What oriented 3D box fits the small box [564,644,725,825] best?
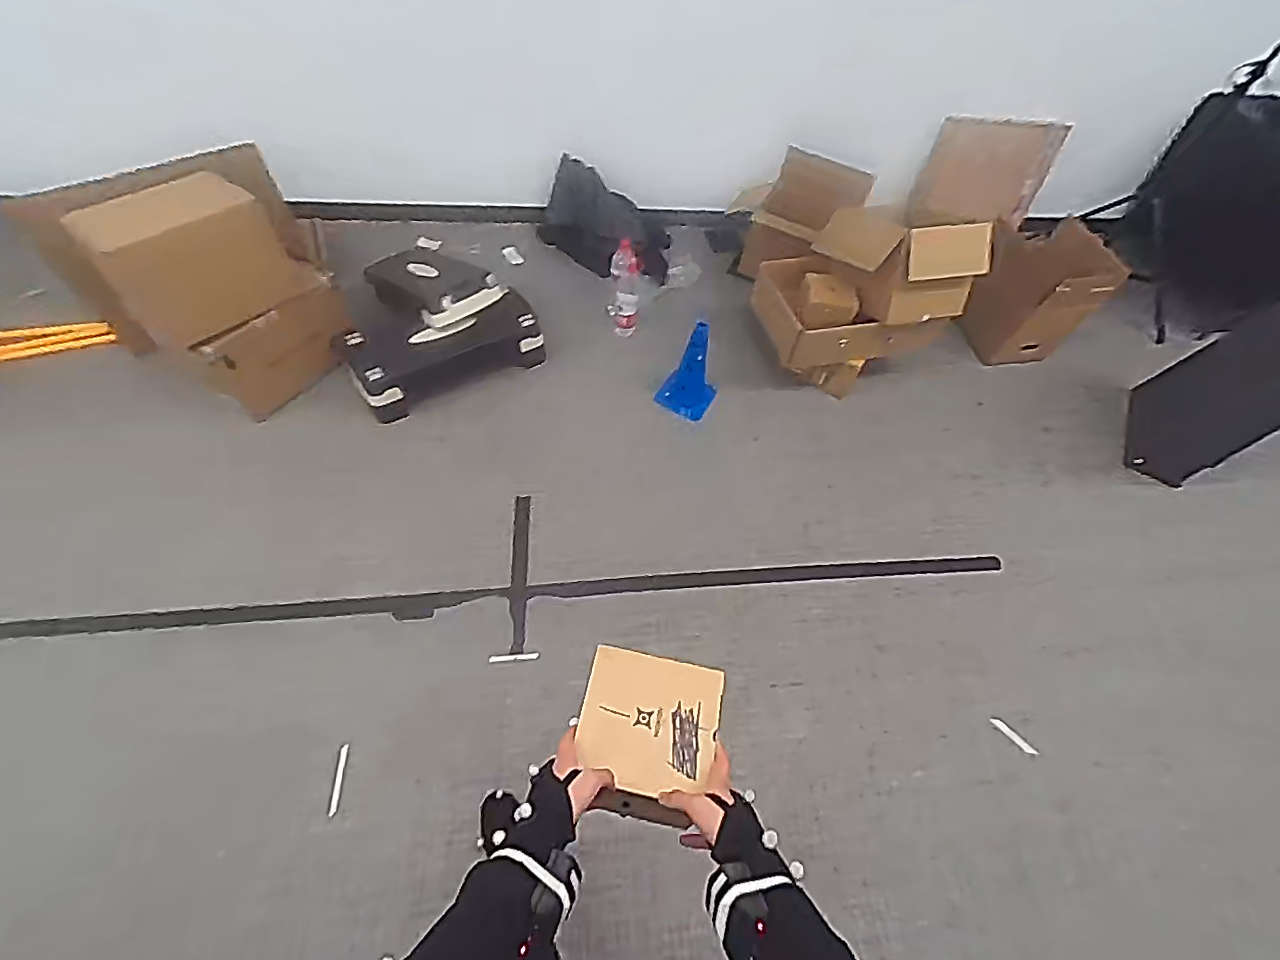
[{"bbox_3d":[0.004,0.351,0.735,0.179,0.176,0.168,13,50,4],"label":"small box"}]
